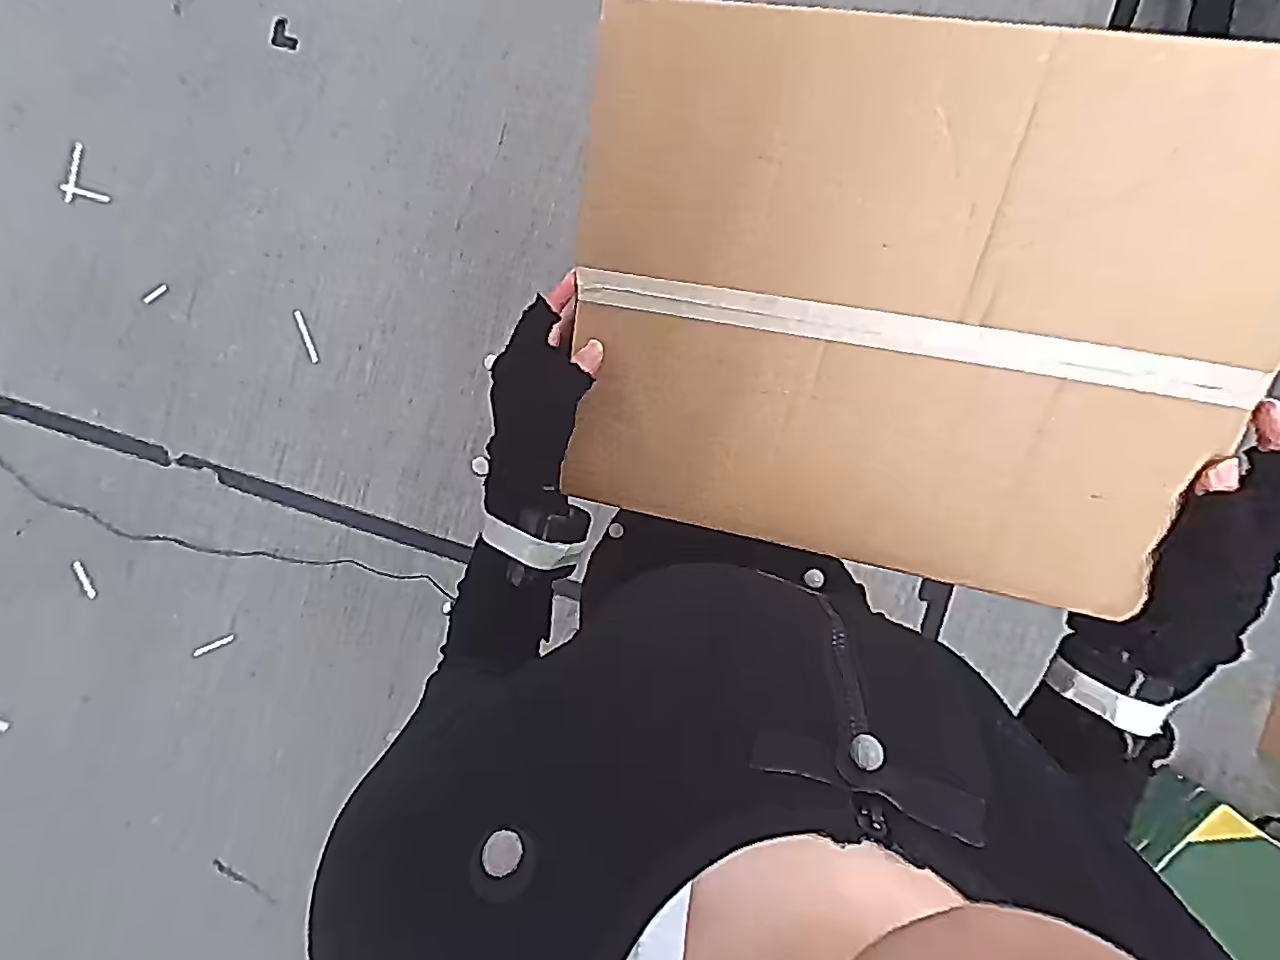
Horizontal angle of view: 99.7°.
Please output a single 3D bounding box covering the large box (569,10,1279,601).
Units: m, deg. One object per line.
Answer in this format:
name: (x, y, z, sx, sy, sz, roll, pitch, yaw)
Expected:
large box: (0.184, -0.145, 0.482, 0.408, 0.320, 0.320, 13, 113, 8)
